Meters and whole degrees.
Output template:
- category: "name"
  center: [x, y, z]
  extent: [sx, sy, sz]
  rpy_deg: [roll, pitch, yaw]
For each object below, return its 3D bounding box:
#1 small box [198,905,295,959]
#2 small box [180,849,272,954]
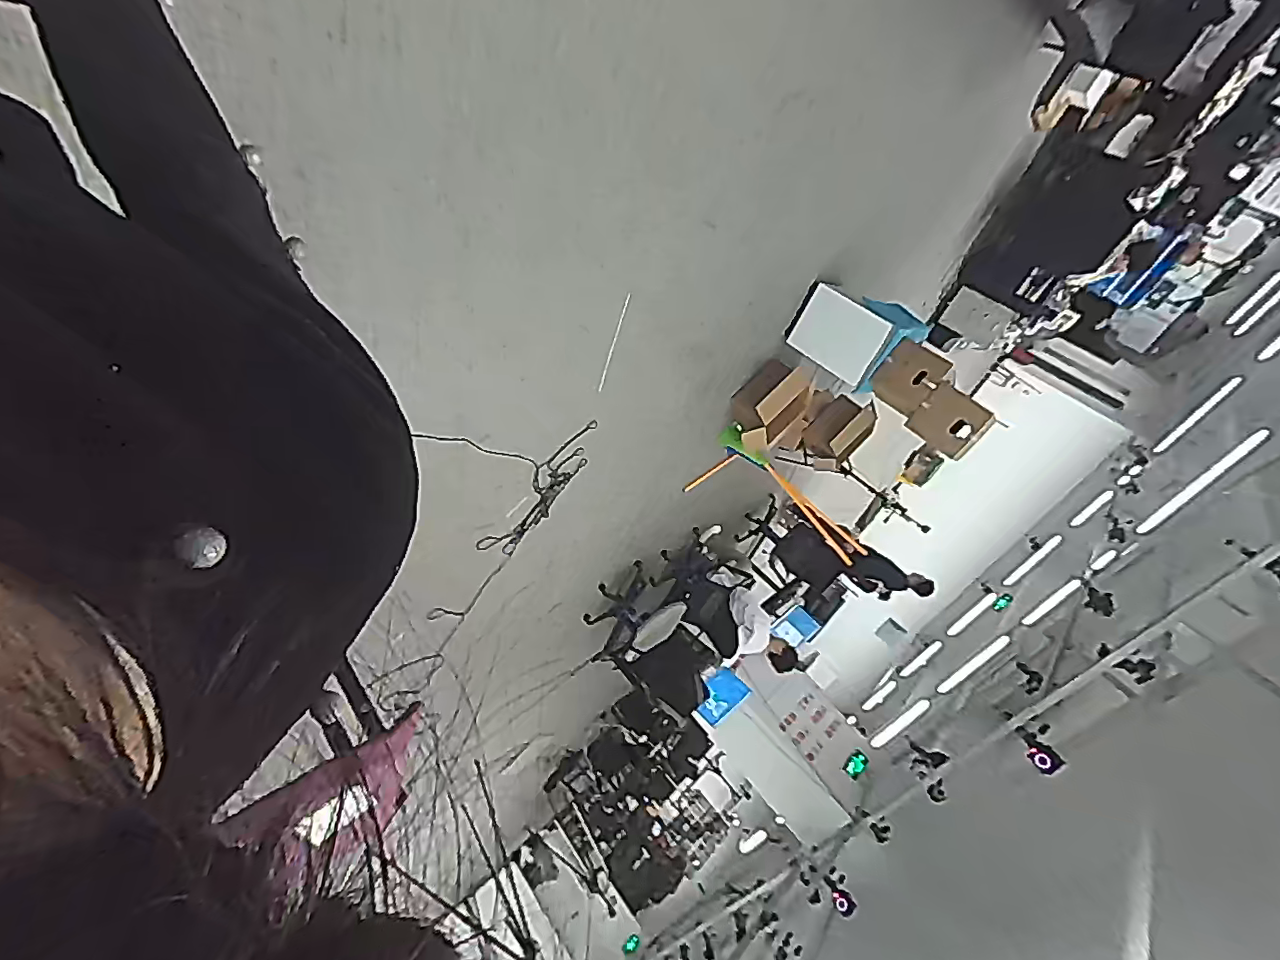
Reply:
- category: "small box"
  center: [-1.021, 1.262, 1.408]
  extent: [0.168, 0.176, 0.179]
  rpy_deg: [-18, 144, -45]
- category: "small box"
  center: [-1.131, 1.163, 1.482]
  extent: [0.168, 0.176, 0.179]
  rpy_deg: [-17, 142, -45]
